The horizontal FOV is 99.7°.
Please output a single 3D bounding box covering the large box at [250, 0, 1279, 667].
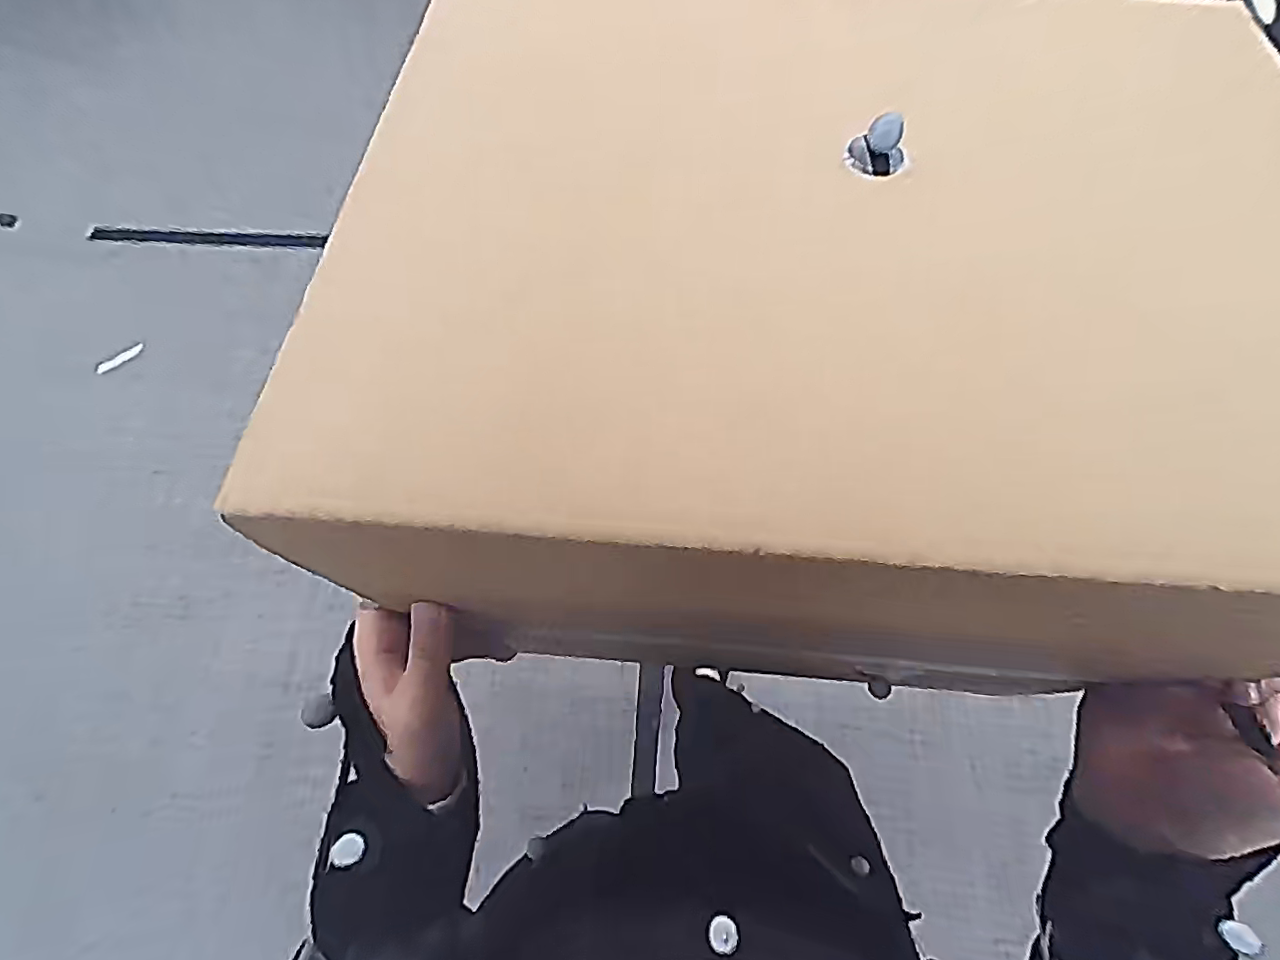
[{"bbox_3d":[0.088,-0.068,0.348,0.408,0.320,0.320,3,67,2],"label":"large box"}]
